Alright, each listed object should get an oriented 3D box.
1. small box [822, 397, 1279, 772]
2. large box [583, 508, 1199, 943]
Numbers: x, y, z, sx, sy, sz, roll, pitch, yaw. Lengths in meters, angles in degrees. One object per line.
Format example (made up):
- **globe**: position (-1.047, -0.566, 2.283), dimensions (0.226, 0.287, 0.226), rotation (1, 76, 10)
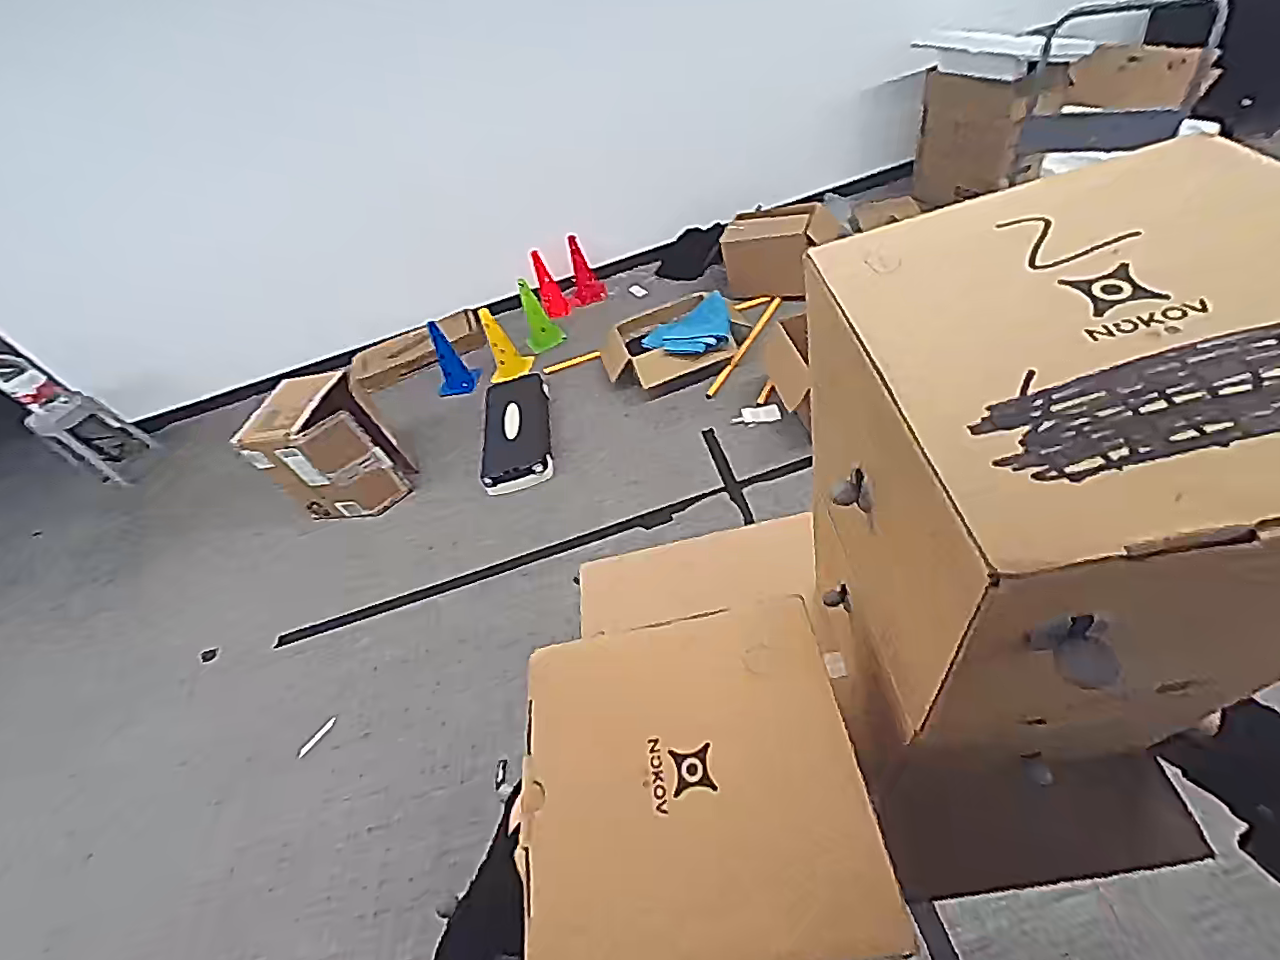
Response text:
- **small box**: position (0.229, 0.078, 0.367), dimensions (0.168, 0.176, 0.179), rotation (-14, 51, 9)
- **large box**: position (0.188, 0.248, 0.570), dimensions (0.408, 0.320, 0.320), rotation (-15, 49, 7)
